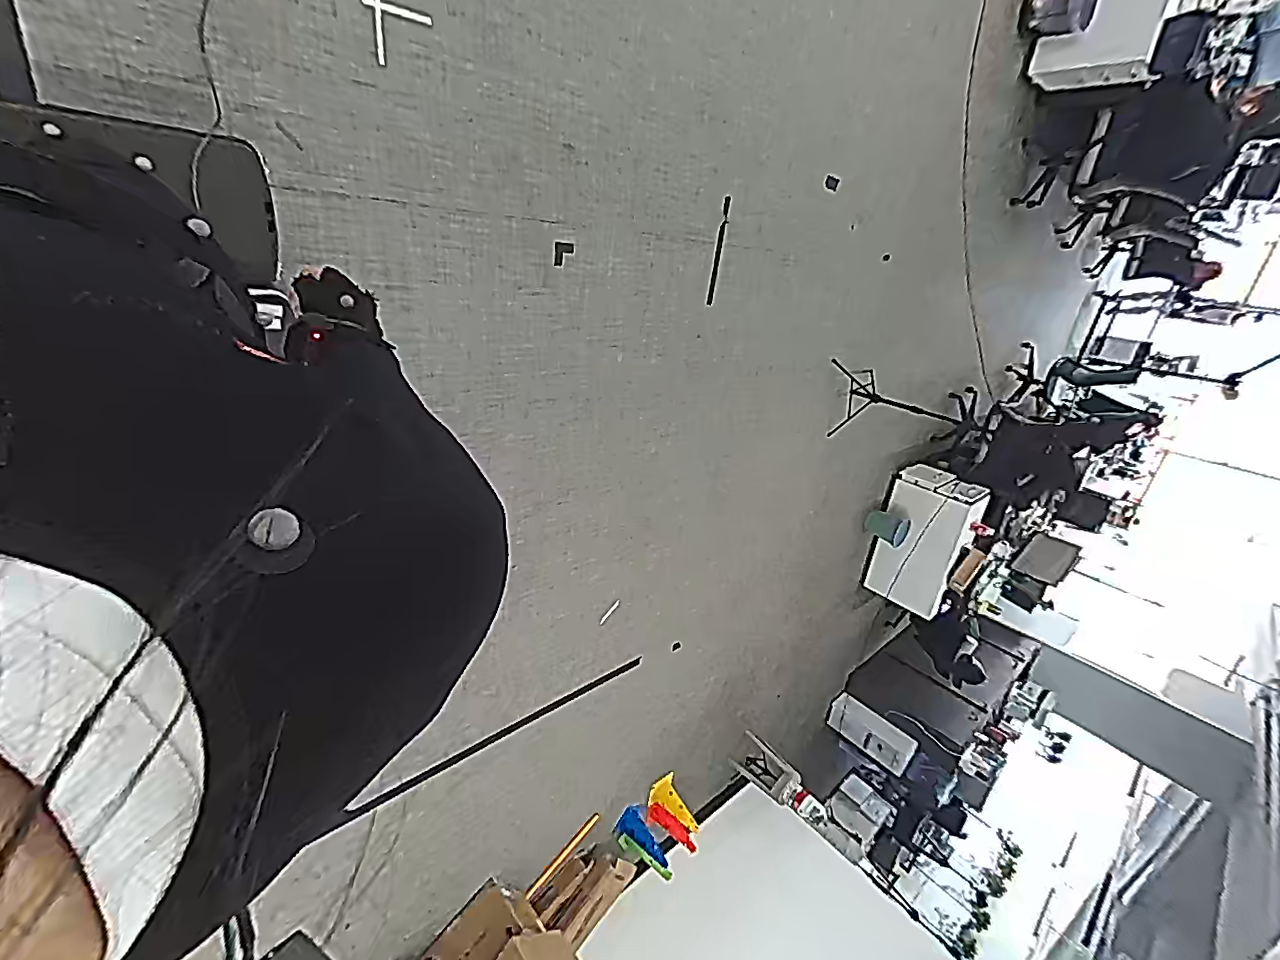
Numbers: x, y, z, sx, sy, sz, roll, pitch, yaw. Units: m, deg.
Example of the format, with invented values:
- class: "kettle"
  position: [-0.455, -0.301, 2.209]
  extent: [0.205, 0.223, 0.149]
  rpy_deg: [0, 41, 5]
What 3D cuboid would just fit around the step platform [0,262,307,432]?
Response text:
- class: "step platform"
  position: [-1.035, -0.265, 1.030]
  extent: [0.684, 0.204, 0.286]
  rpy_deg: [-14, 120, -38]
